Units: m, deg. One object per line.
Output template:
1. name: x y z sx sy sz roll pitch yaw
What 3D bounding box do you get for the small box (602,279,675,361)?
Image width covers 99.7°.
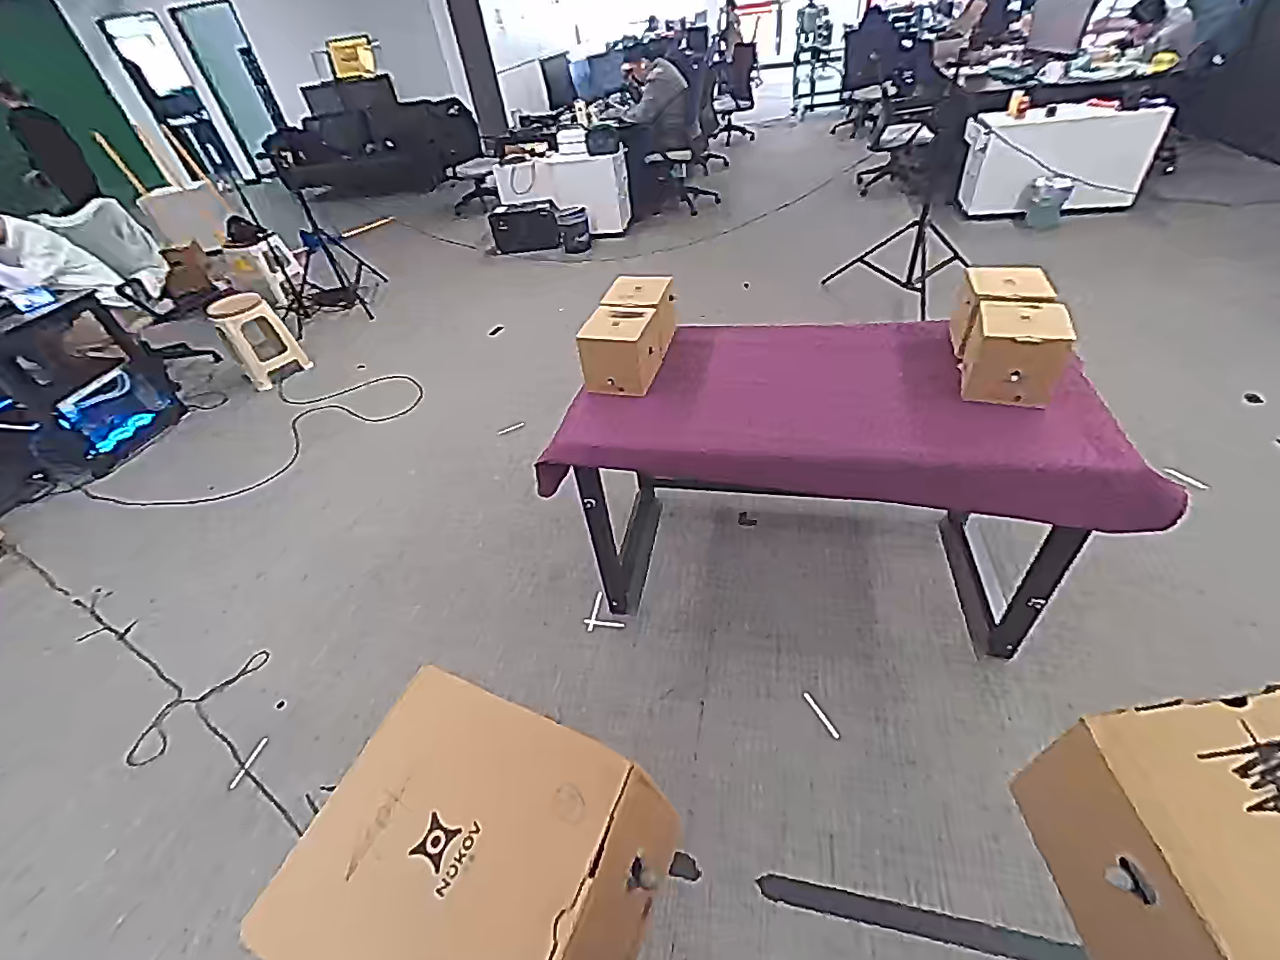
1. small box: 0.003 -0.468 1.571 0.168 0.176 0.179 7 45 16

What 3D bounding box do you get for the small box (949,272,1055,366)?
1. small box: 0.894 -0.406 1.357 0.168 0.176 0.179 7 43 16

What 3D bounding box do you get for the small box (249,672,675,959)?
1. small box: -0.091 0.262 0.363 0.179 0.176 0.168 10 51 26

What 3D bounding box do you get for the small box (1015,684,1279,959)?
1. small box: 0.362 0.240 0.315 0.168 0.176 0.179 -13 47 7
